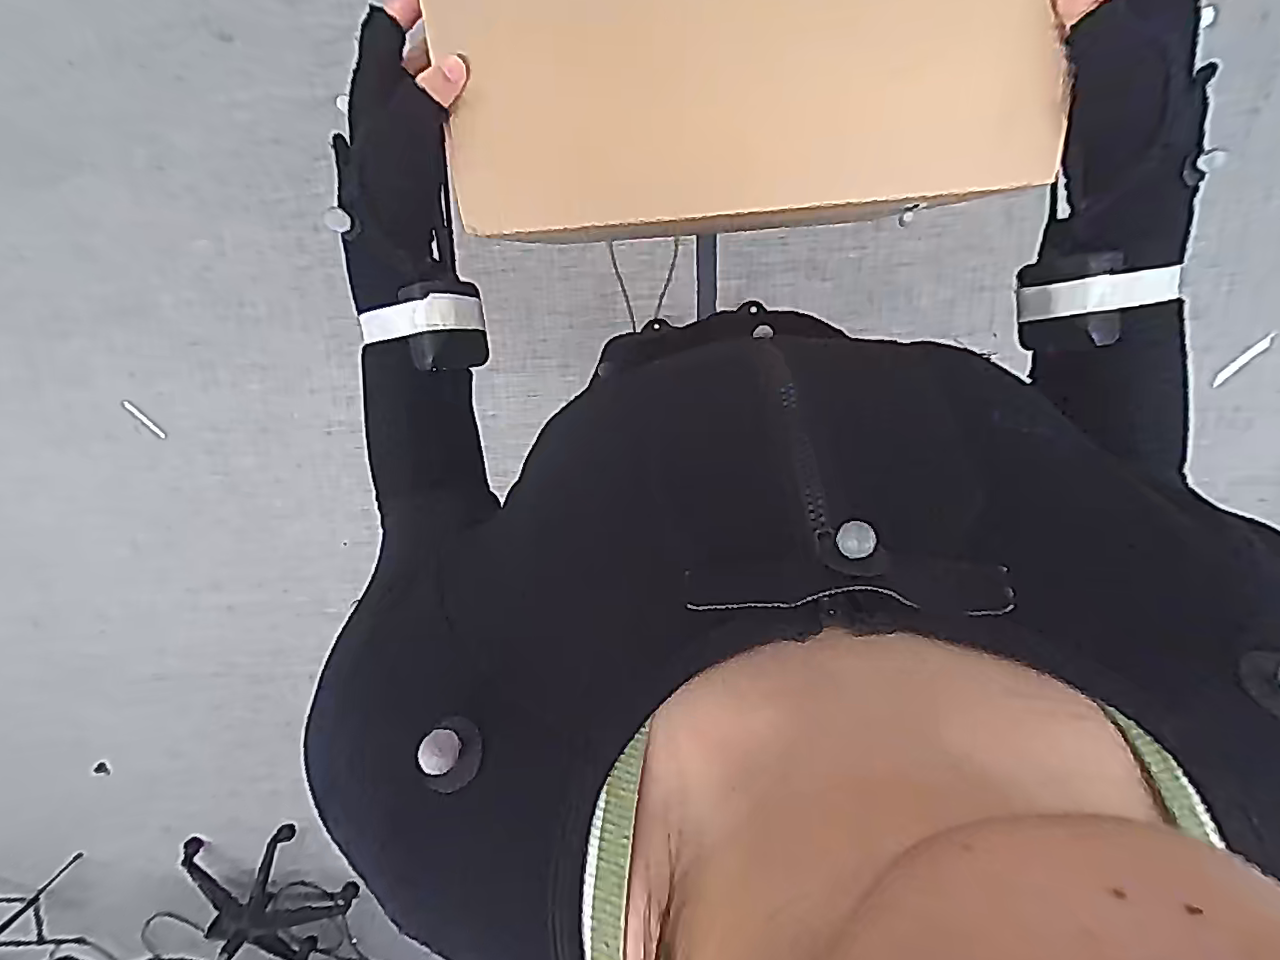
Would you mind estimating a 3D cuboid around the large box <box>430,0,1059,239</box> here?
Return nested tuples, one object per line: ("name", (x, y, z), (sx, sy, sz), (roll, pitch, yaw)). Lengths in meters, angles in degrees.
("large box", (0.067, -0.392, 0.464), (0.408, 0.320, 0.320), (-3, 112, 3))
